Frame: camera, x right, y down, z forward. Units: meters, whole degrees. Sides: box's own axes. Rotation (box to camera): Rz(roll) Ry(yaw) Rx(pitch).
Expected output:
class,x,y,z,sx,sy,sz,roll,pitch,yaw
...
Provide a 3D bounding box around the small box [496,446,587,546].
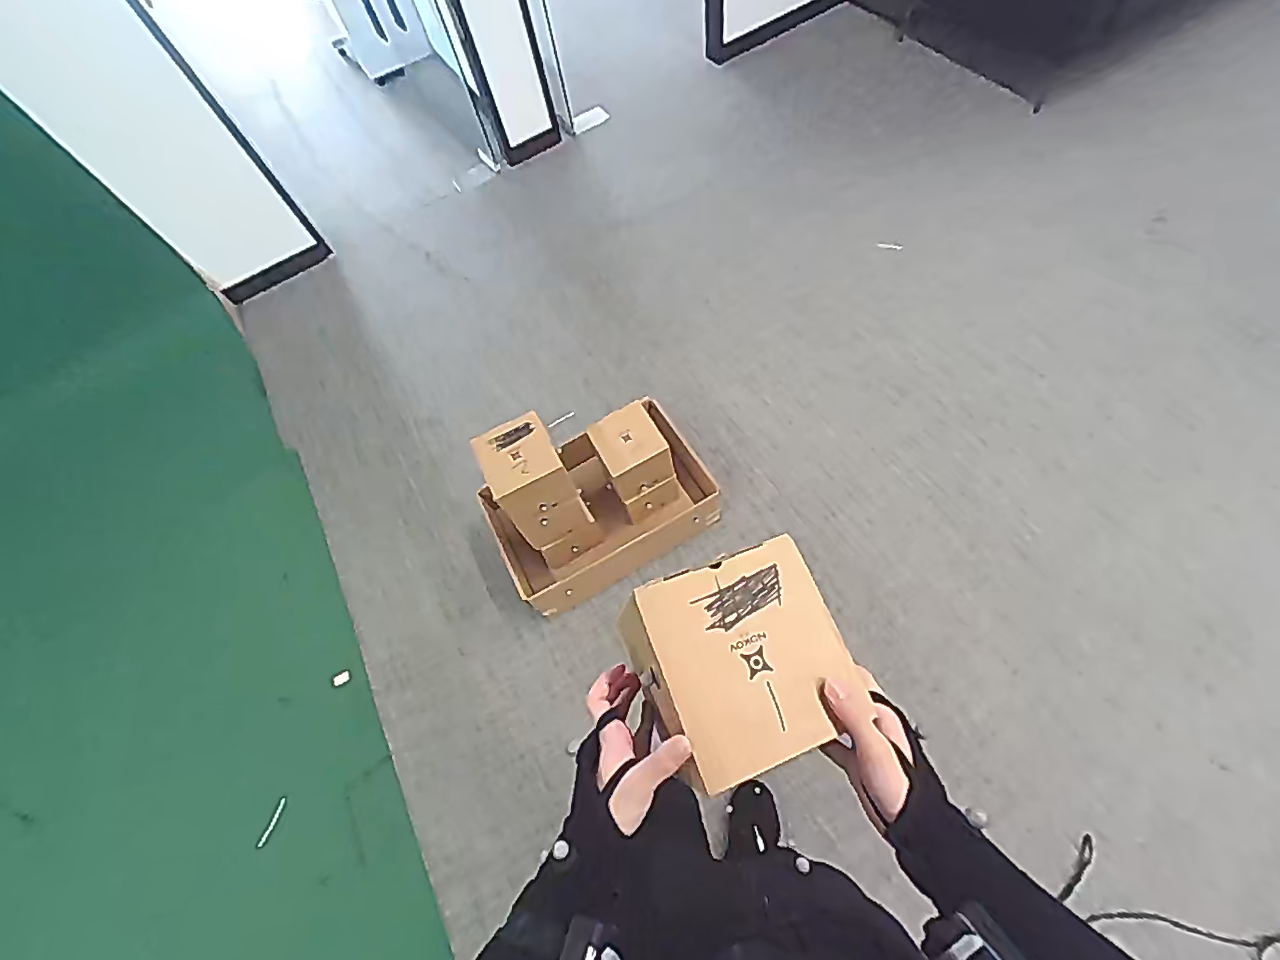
class,x,y,z,sx,sy,sz,roll,pitch,yaw
small box,-0.257,0.047,1.435,0.168,0.176,0.179,-26,62,-5

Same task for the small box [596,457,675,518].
class,x,y,z,sx,sy,sz,roll,pitch,yaw
small box,-0.007,-0.004,1.617,0.168,0.176,0.179,-30,64,-7

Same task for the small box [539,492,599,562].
class,x,y,z,sx,sy,sz,roll,pitch,yaw
small box,-0.235,0.120,1.581,0.168,0.176,0.179,-29,64,-10

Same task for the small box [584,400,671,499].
class,x,y,z,sx,sy,sz,roll,pitch,yaw
small box,-0.030,-0.078,1.472,0.168,0.176,0.179,-28,64,-5
